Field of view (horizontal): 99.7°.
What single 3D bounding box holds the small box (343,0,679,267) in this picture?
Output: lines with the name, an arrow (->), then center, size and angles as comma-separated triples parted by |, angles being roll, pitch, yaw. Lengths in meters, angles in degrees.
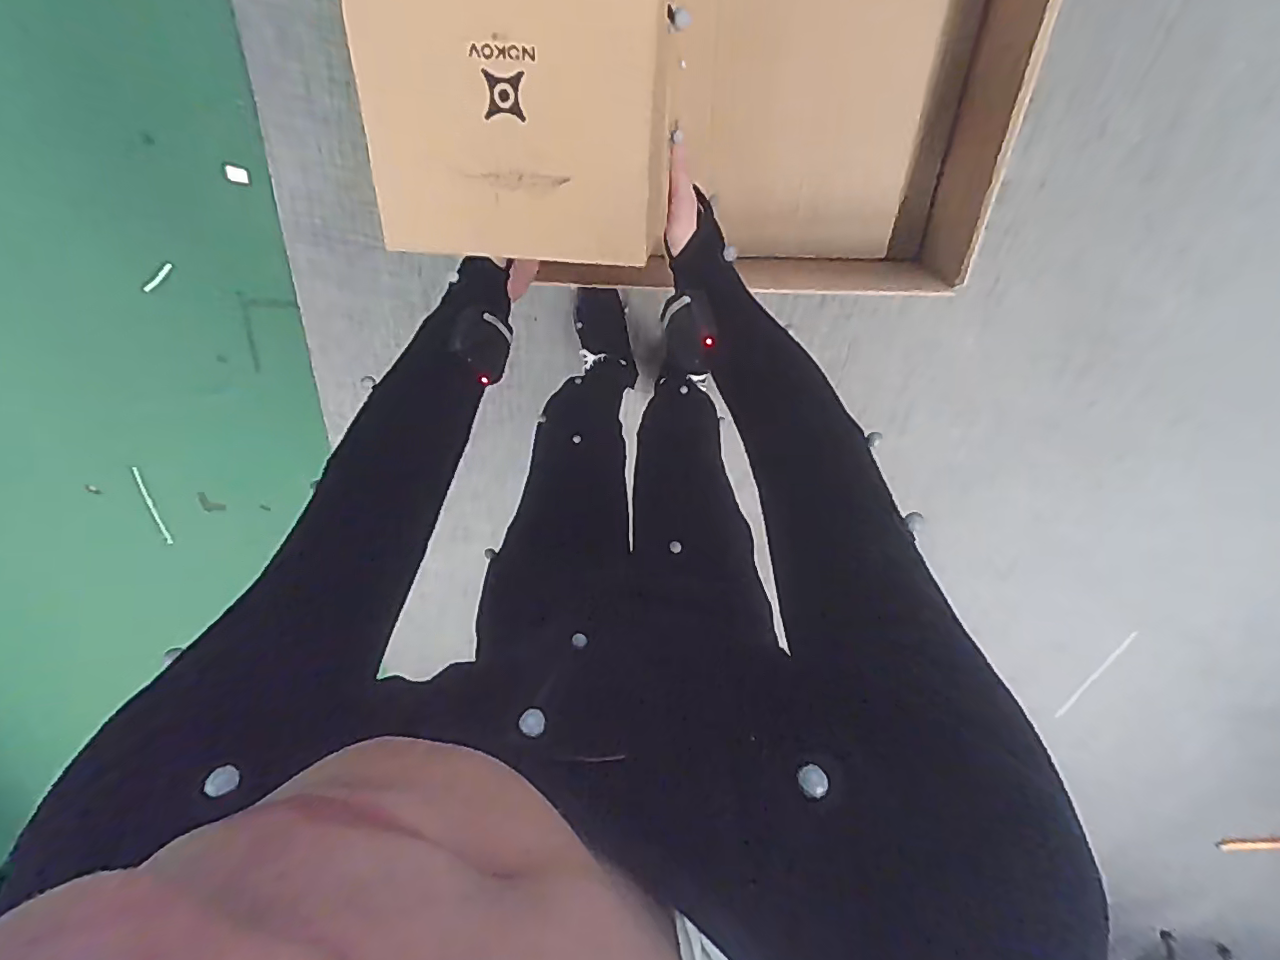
small box -> -0.063, -0.248, 0.348 | 0.168, 0.176, 0.179 | 5, 121, 2
